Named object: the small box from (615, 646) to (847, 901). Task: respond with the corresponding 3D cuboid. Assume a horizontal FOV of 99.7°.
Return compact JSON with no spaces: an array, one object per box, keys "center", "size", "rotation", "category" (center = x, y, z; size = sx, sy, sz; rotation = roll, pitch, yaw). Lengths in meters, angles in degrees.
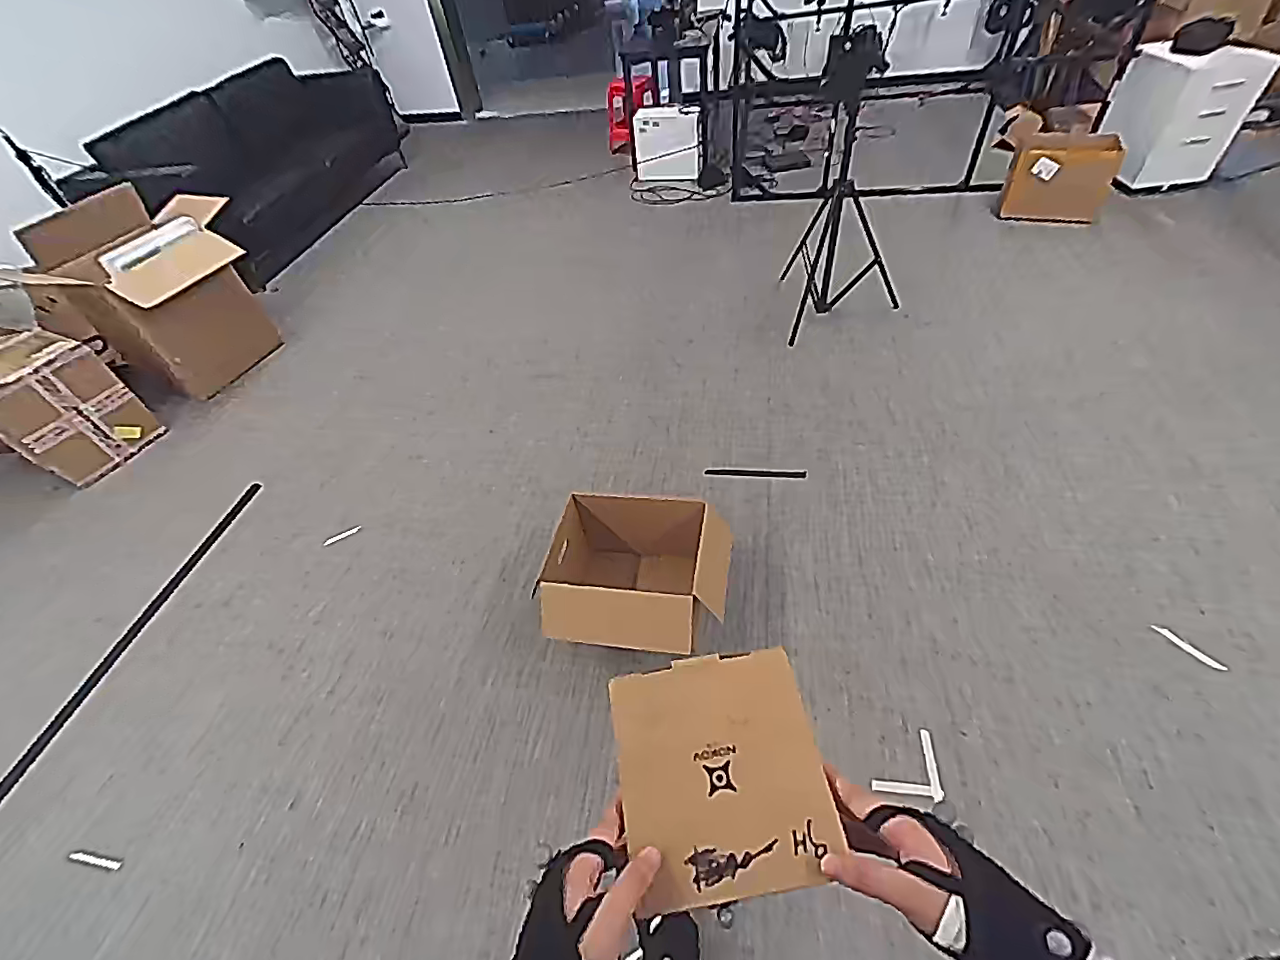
[{"center":[0.073,0.284,0.521],"size":[0.168,0.176,0.179],"rotation":[-10,54,0],"category":"small box"}]
